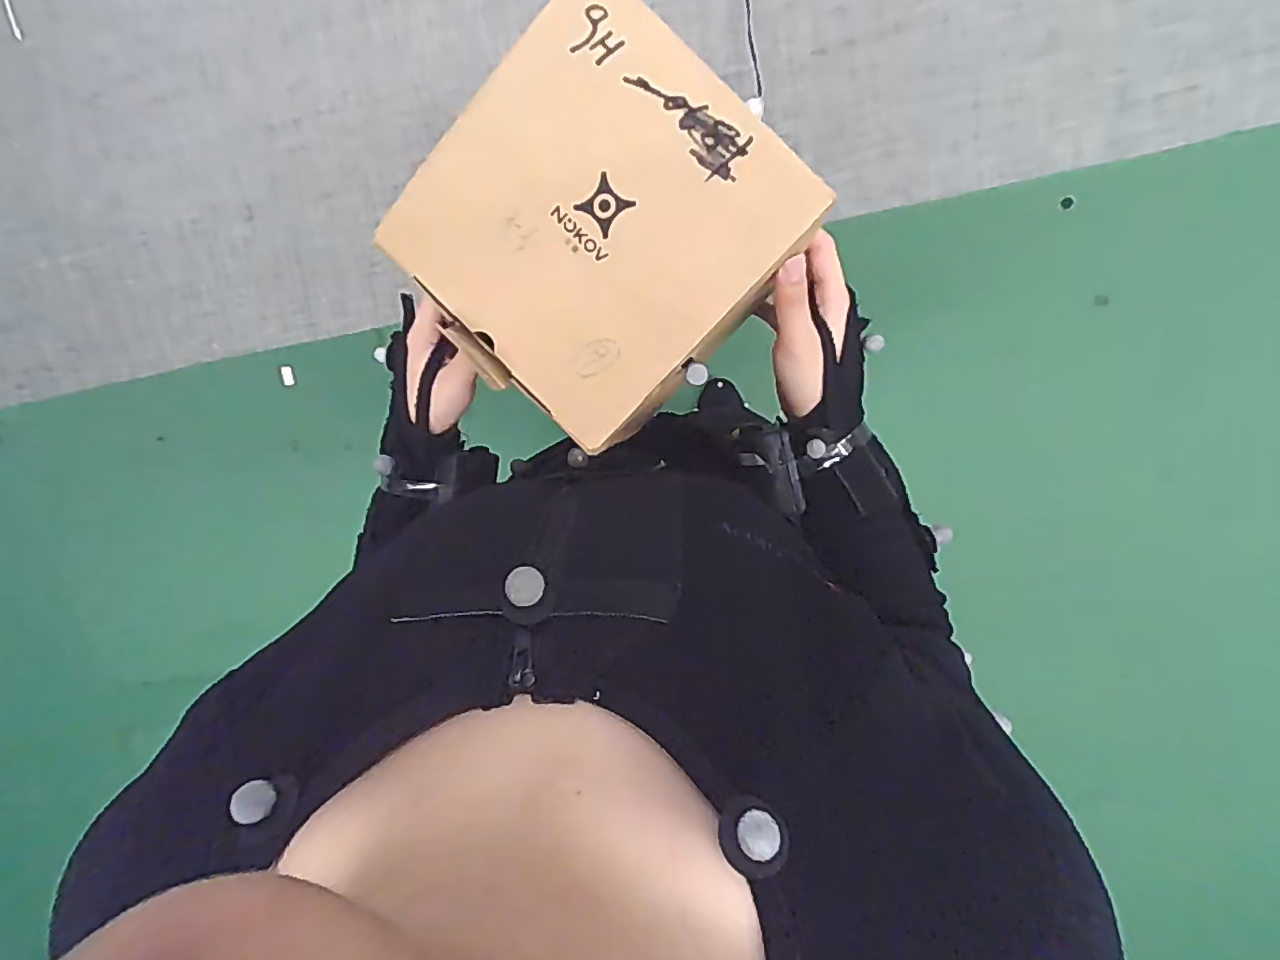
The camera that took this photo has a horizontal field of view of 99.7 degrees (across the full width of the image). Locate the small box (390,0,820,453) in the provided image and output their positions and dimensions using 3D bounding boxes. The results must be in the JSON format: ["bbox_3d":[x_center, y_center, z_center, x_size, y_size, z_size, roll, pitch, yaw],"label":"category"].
[{"bbox_3d":[-0.013,-0.140,0.360,0.168,0.176,0.179,44,101,-1],"label":"small box"}]
